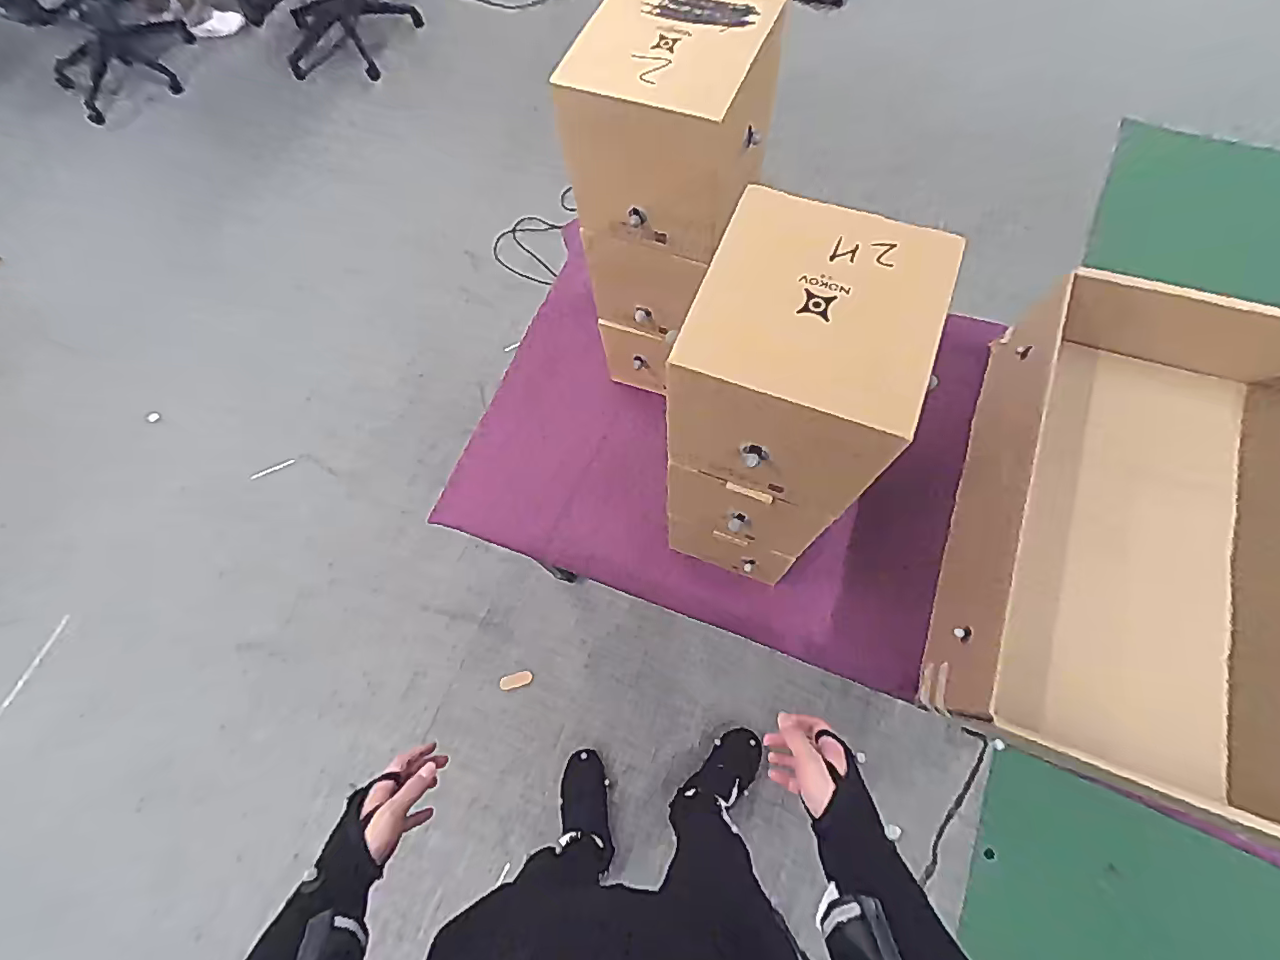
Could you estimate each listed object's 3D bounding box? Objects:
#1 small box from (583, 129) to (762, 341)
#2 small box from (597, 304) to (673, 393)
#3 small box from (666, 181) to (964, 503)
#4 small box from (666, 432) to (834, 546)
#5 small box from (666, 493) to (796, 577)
[{"bbox_3d":[0.044,-0.313,0.718,0.168,0.176,0.179,22,73,12],"label":"small box"},{"bbox_3d":[0.049,-0.255,0.872,0.168,0.176,0.179,18,71,11],"label":"small box"},{"bbox_3d":[0.131,-0.102,0.453,0.168,0.176,0.179,21,71,10],"label":"small box"},{"bbox_3d":[0.137,-0.043,0.608,0.168,0.176,0.179,19,72,10],"label":"small box"},{"bbox_3d":[0.146,0.019,0.759,0.168,0.176,0.179,20,71,11],"label":"small box"}]
